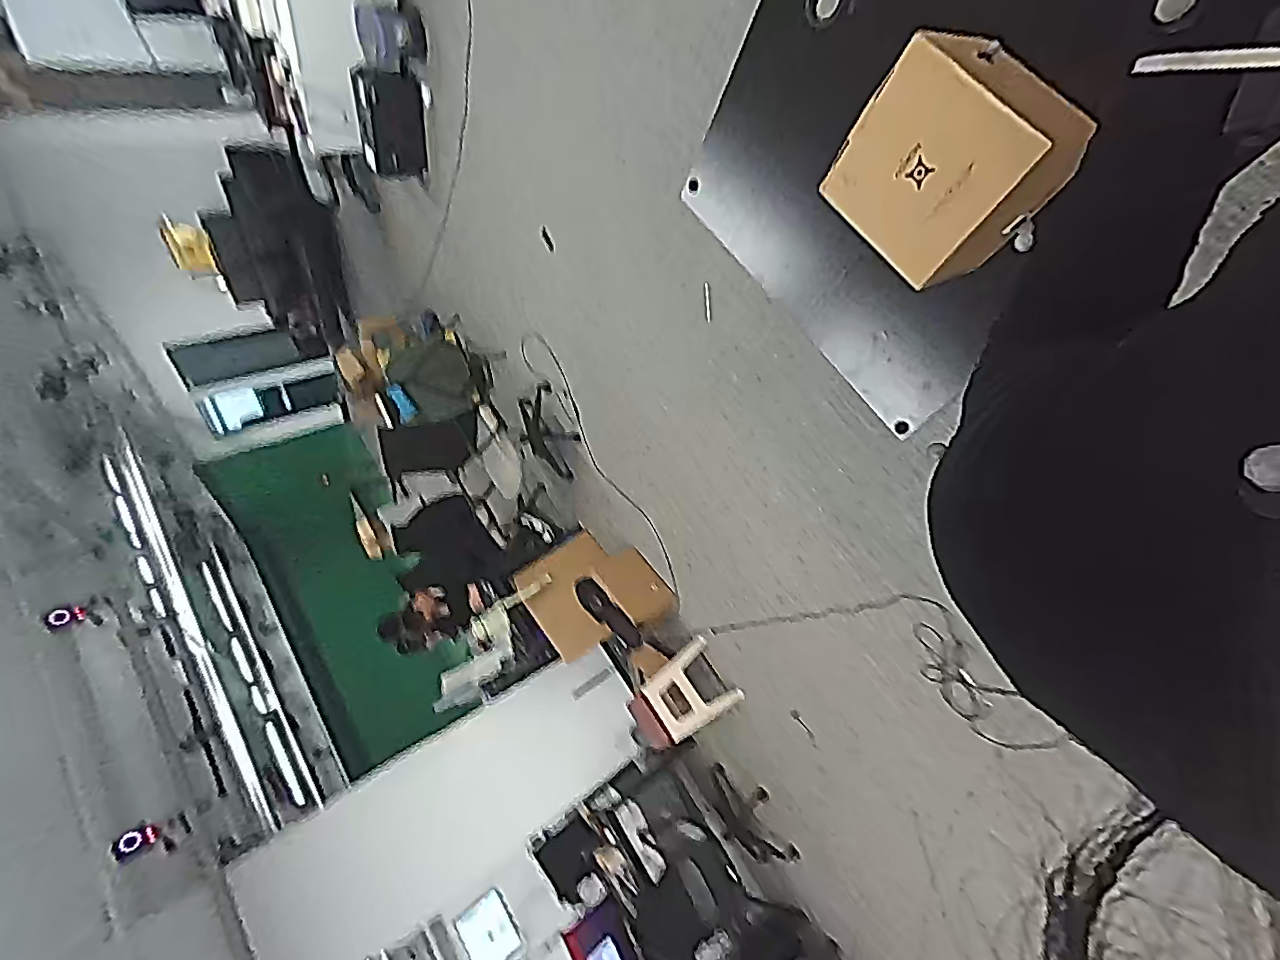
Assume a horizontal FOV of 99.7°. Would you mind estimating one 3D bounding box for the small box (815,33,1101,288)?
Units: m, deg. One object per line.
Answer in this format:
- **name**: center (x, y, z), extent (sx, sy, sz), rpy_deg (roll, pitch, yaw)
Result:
- **small box**: center (0.340, -0.343, 0.592), extent (0.179, 0.176, 0.168), rpy_deg (55, 148, 16)
